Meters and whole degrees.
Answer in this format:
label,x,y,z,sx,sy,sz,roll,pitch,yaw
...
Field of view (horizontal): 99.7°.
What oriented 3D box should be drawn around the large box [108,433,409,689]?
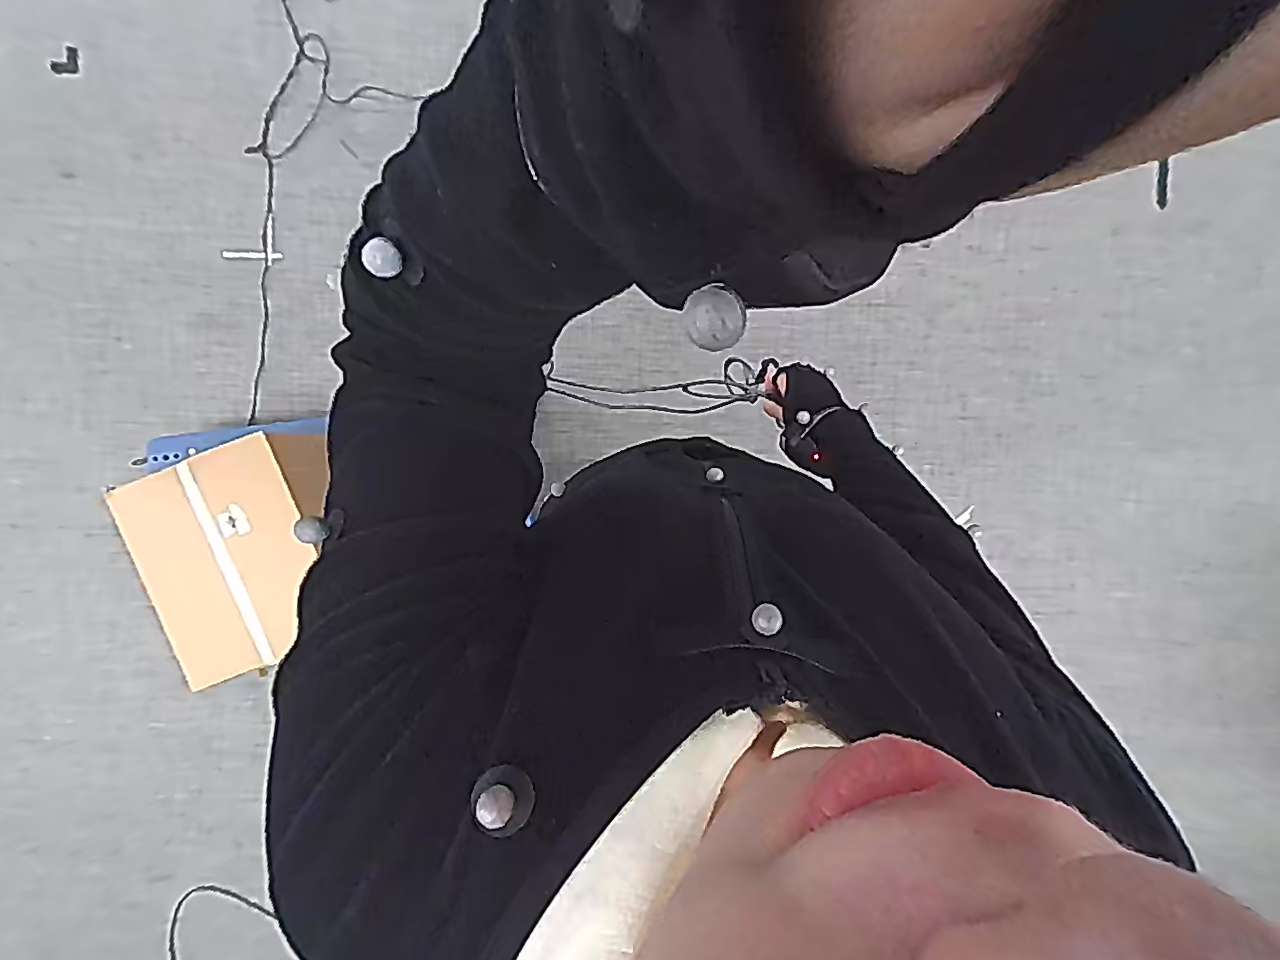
label,x,y,z,sx,sy,sz,roll,pitch,yaw
large box,-0.762,0.148,1.146,0.320,0.320,0.408,-22,92,-2
